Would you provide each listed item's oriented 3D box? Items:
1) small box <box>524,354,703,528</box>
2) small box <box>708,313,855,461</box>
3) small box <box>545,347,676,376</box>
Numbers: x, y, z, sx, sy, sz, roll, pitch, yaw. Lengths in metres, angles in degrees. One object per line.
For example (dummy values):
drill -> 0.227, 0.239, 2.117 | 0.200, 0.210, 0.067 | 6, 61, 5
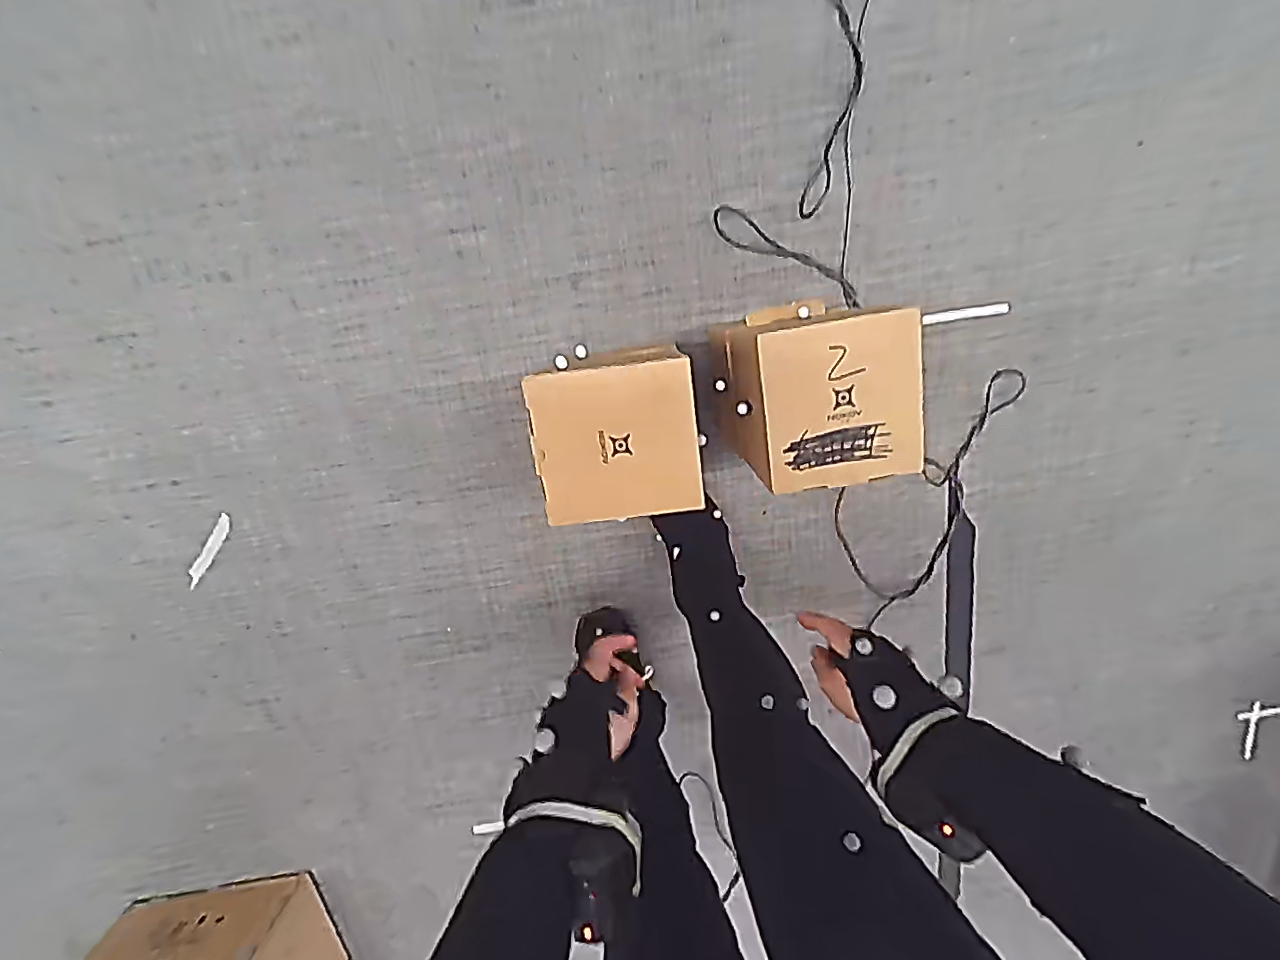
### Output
small box -> -0.026, -0.057, 0.651 | 0.179, 0.176, 0.168 | -7, 106, 3
small box -> 0.200, -0.142, 0.799 | 0.168, 0.176, 0.179 | -10, 107, 2
small box -> -0.028, -0.102, 0.806 | 0.179, 0.176, 0.168 | -8, 107, 3
